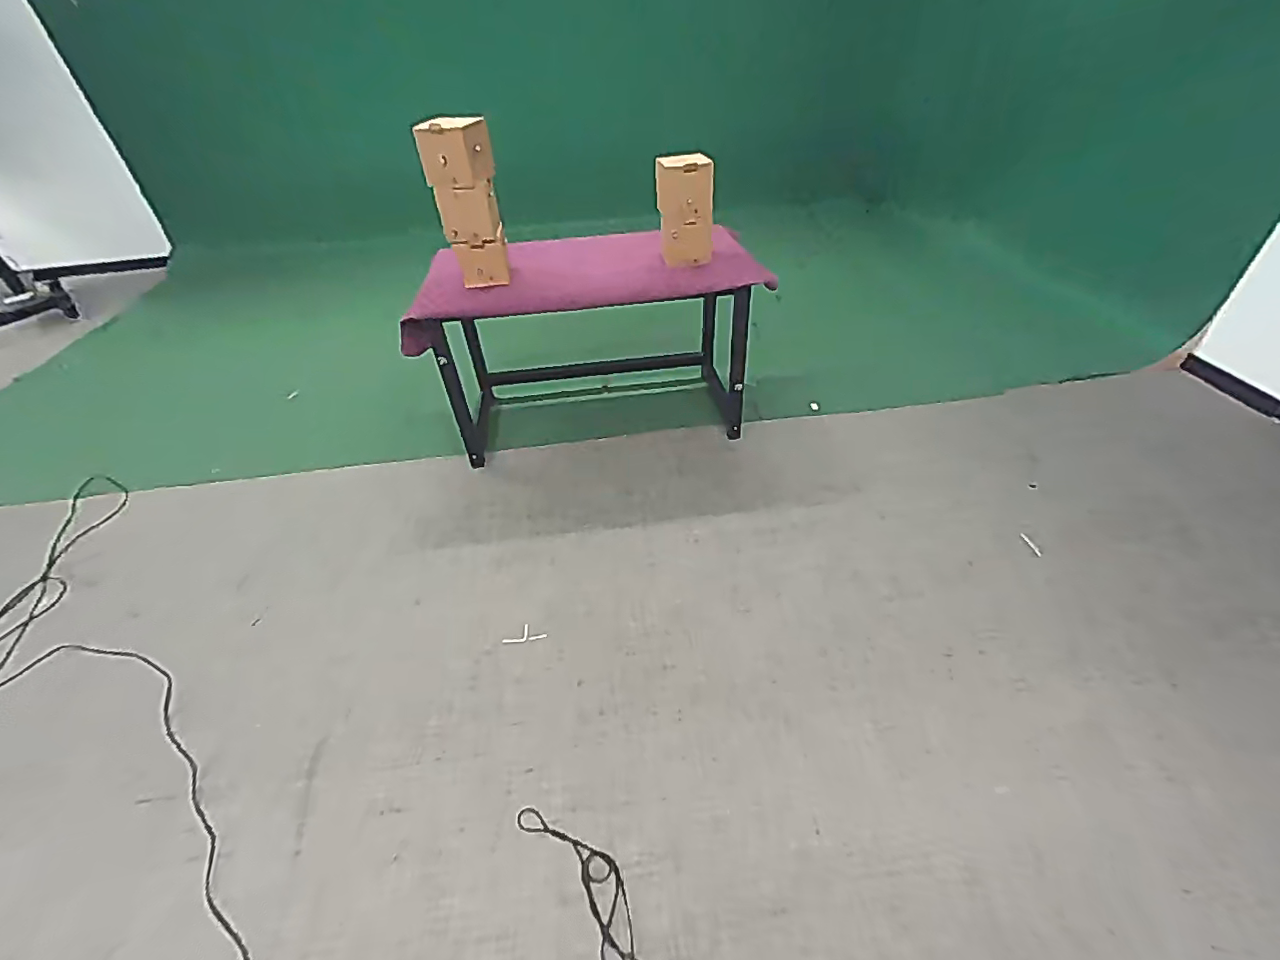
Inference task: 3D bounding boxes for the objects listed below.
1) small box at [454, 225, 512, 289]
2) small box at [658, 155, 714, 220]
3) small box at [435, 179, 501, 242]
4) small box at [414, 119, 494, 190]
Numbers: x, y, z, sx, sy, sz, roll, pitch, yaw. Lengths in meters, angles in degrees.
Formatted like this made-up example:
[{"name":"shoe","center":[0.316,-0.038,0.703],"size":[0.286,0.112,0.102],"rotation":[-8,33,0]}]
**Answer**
[{"name":"small box","center":[-0.569,-0.817,1.979],"size":[0.168,0.176,0.179],"rotation":[-8,43,-5]},{"name":"small box","center":[0.158,-1.032,1.909],"size":[0.168,0.176,0.179],"rotation":[-9,41,-5]},{"name":"small box","center":[-0.583,-0.928,1.857],"size":[0.168,0.176,0.179],"rotation":[-4,41,-2]},{"name":"small box","center":[-0.591,-1.052,1.750],"size":[0.168,0.176,0.179],"rotation":[8,45,11]}]
